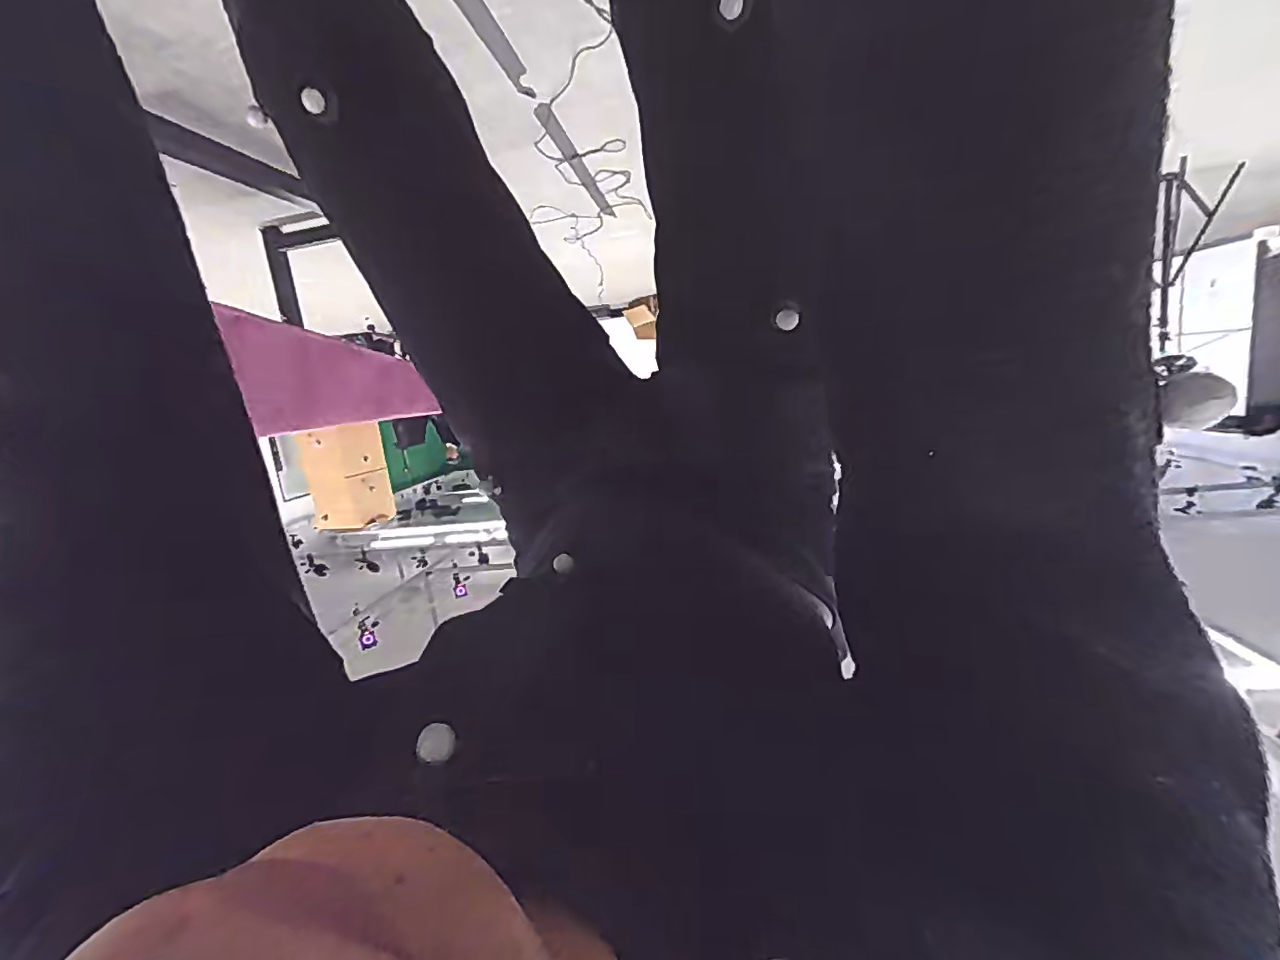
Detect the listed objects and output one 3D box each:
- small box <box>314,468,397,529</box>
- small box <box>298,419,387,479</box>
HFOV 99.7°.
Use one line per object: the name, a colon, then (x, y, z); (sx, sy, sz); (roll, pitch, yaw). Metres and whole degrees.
small box: (-0.945, 0.056, 1.790); (0.179, 0.176, 0.168); (-3, -168, 21)
small box: (-0.962, -0.103, 1.751); (0.168, 0.176, 0.179); (-4, -170, 20)
